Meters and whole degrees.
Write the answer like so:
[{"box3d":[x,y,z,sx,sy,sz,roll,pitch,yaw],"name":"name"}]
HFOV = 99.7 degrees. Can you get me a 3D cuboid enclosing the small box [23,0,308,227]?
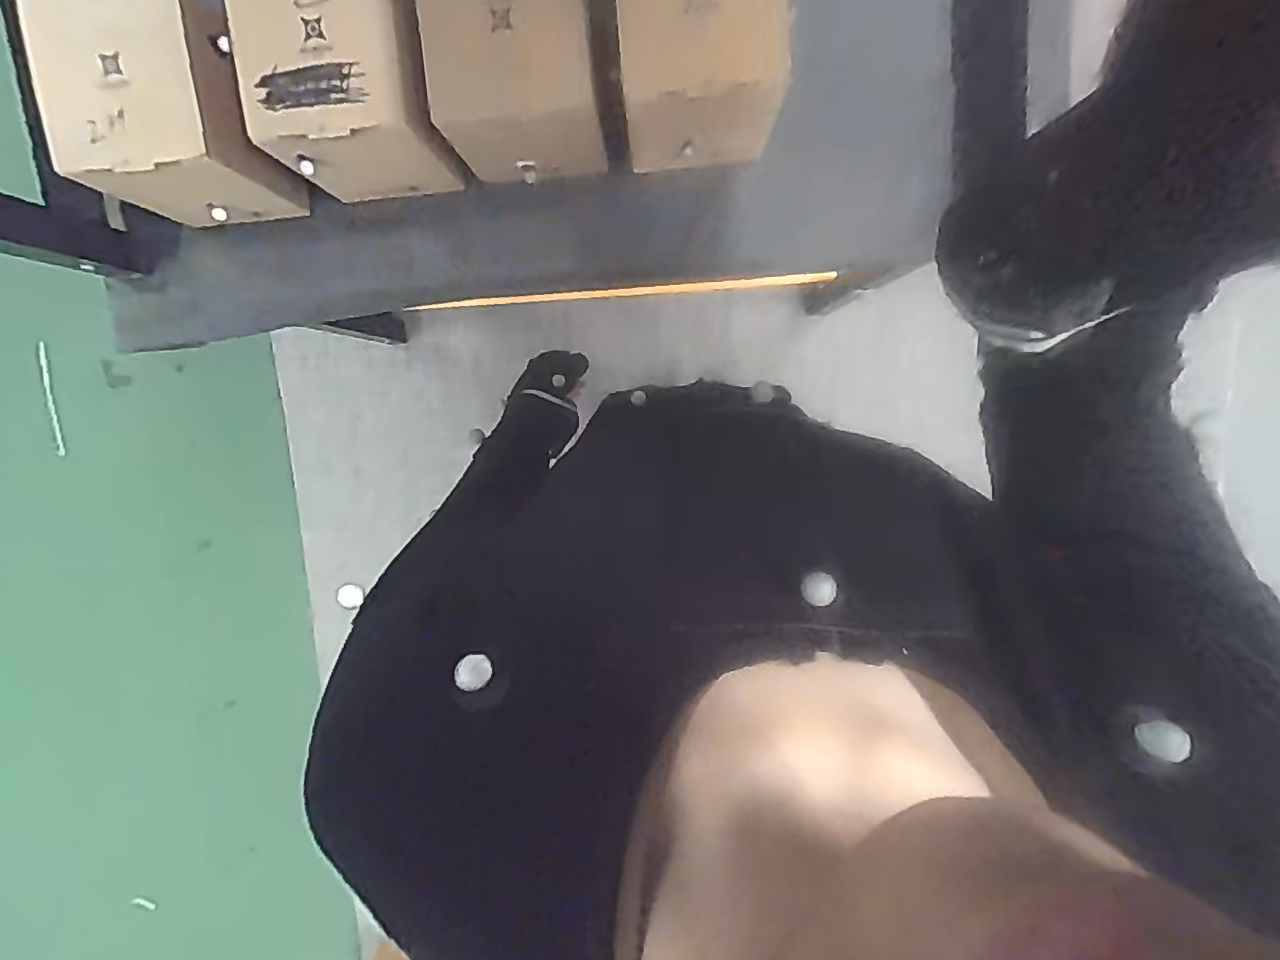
[{"box3d":[-0.519,-0.414,0.619,0.168,0.176,0.179,-5,98,2],"name":"small box"}]
